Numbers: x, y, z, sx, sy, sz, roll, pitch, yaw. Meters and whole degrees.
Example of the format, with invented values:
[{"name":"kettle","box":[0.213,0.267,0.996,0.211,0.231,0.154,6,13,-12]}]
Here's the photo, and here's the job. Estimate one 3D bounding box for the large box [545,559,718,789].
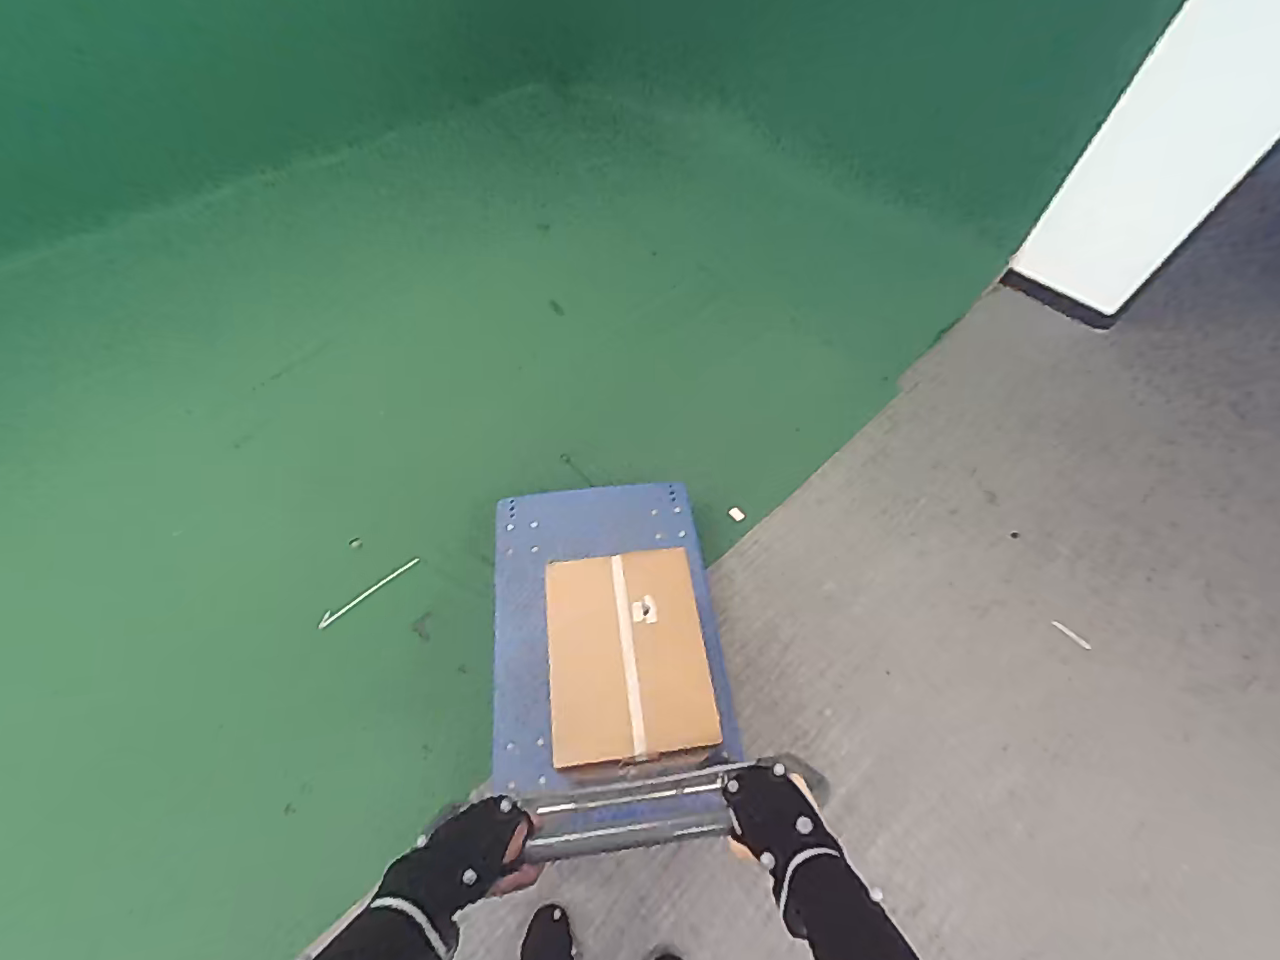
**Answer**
[{"name":"large box","box":[-0.033,0.441,1.227,0.320,0.320,0.408,-5,56,-6]}]
